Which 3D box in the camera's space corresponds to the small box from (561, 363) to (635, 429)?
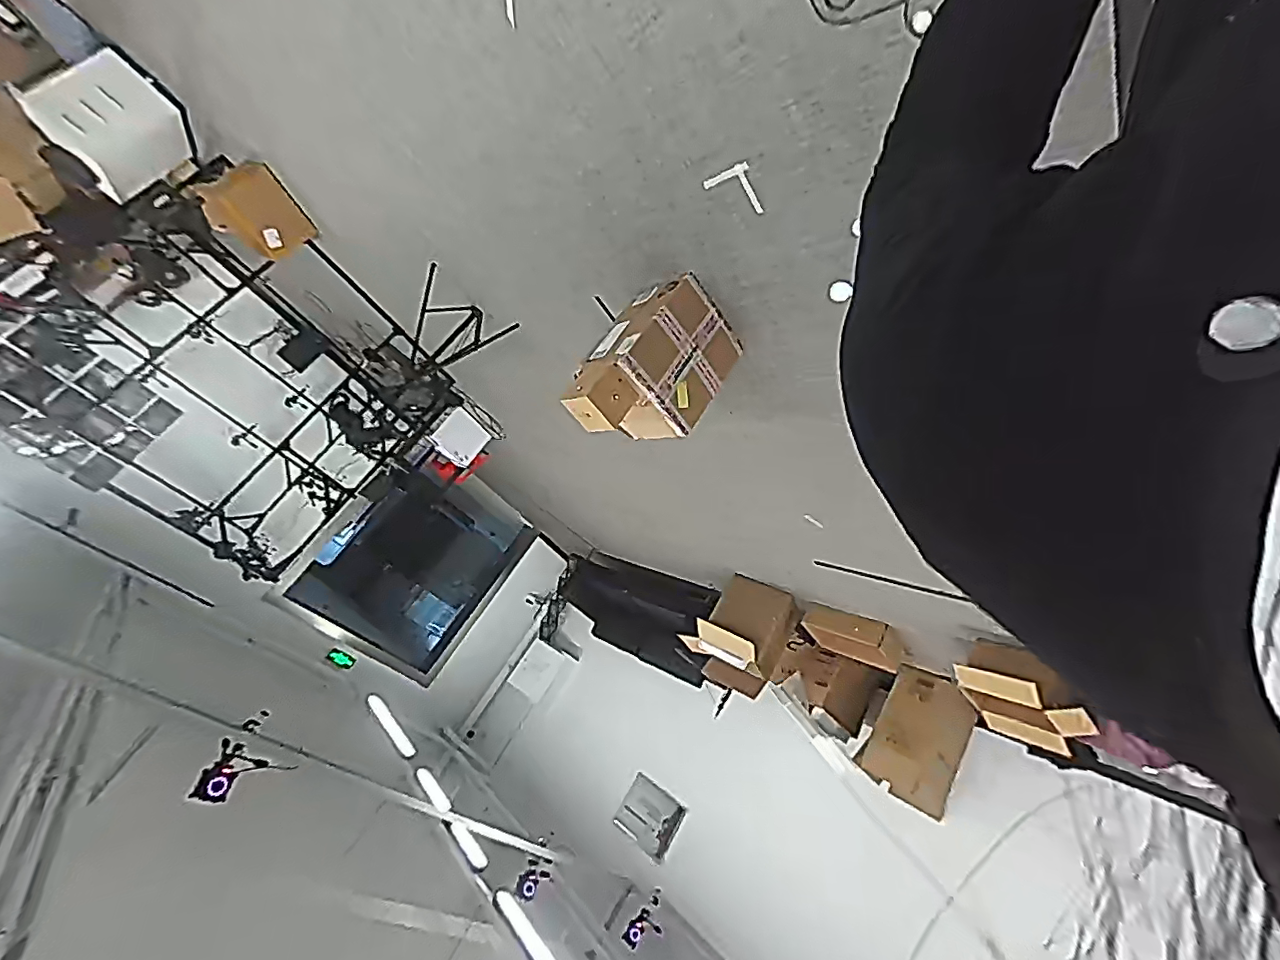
[{"bbox_3d":[-0.143,-0.303,1.950,0.179,0.176,0.168,3,141,51],"label":"small box"}]
